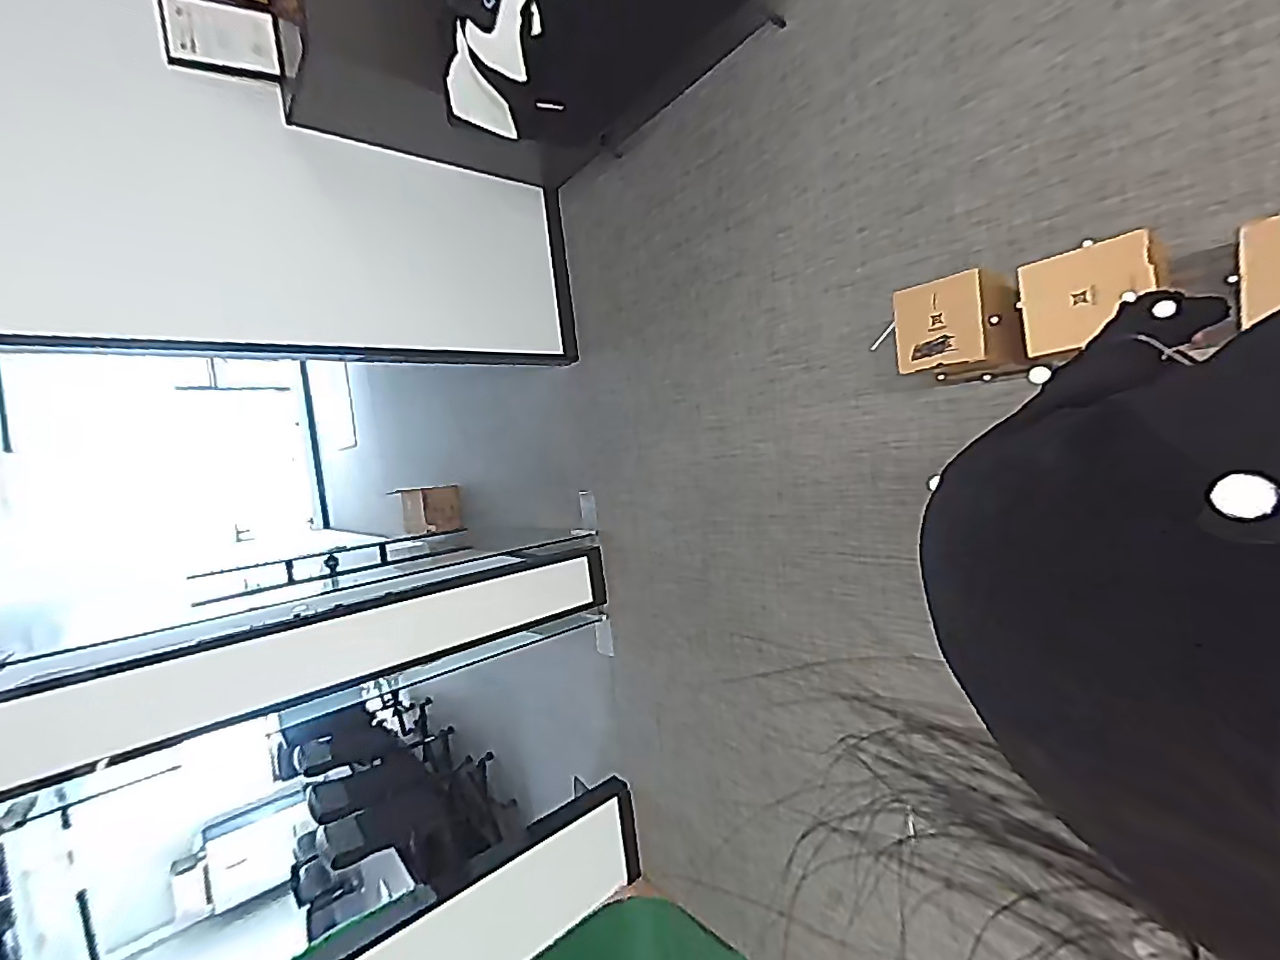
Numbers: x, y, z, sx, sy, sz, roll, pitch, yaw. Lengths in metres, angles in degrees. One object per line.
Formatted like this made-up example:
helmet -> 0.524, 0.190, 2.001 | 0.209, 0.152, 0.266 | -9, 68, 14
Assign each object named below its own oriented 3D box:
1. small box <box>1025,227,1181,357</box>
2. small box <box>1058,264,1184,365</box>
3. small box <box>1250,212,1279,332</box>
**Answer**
small box -> 0.818, -0.318, 0.957 | 0.179, 0.176, 0.168 | -8, 91, 50
small box -> 0.940, -0.331, 1.064 | 0.168, 0.176, 0.179 | -6, 91, 52
small box -> 1.104, -0.344, 0.867 | 0.168, 0.176, 0.179 | -1, 96, 51
